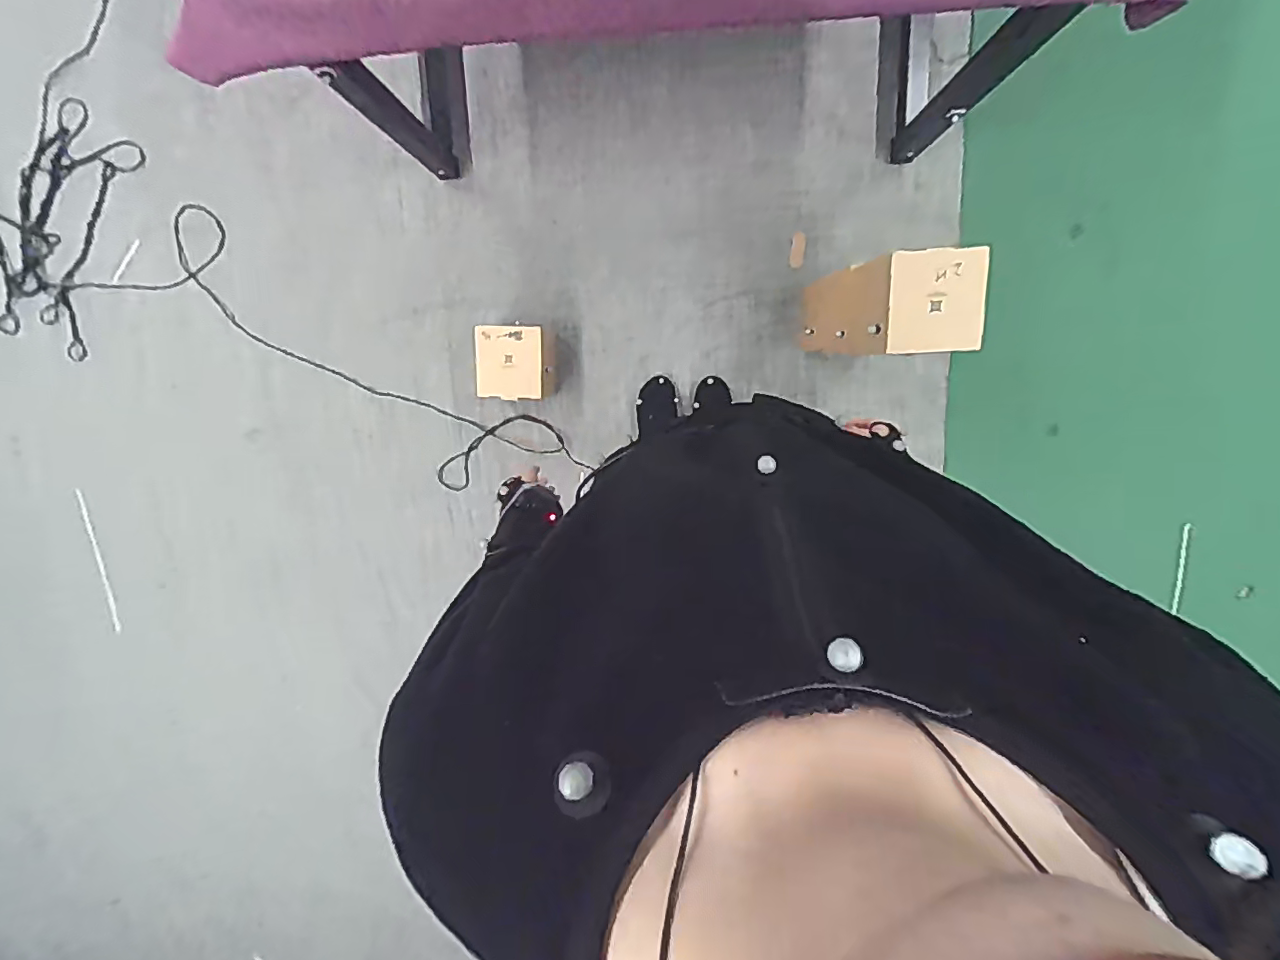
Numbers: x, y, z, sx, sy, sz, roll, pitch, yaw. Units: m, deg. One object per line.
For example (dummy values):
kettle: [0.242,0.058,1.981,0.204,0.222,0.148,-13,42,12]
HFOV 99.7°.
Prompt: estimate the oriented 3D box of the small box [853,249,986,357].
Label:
small box: [0.513,-0.325,1.017,0.168,0.176,0.179,-2,102,3]

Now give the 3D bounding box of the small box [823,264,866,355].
small box: [0.505,-0.368,1.177,0.168,0.176,0.179,-3,102,3]

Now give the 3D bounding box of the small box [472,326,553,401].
small box: [-0.322,-0.300,1.393,0.168,0.176,0.179,2,102,2]

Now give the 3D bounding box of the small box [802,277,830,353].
small box: [0.507,-0.401,1.335,0.179,0.176,0.168,0,101,2]
